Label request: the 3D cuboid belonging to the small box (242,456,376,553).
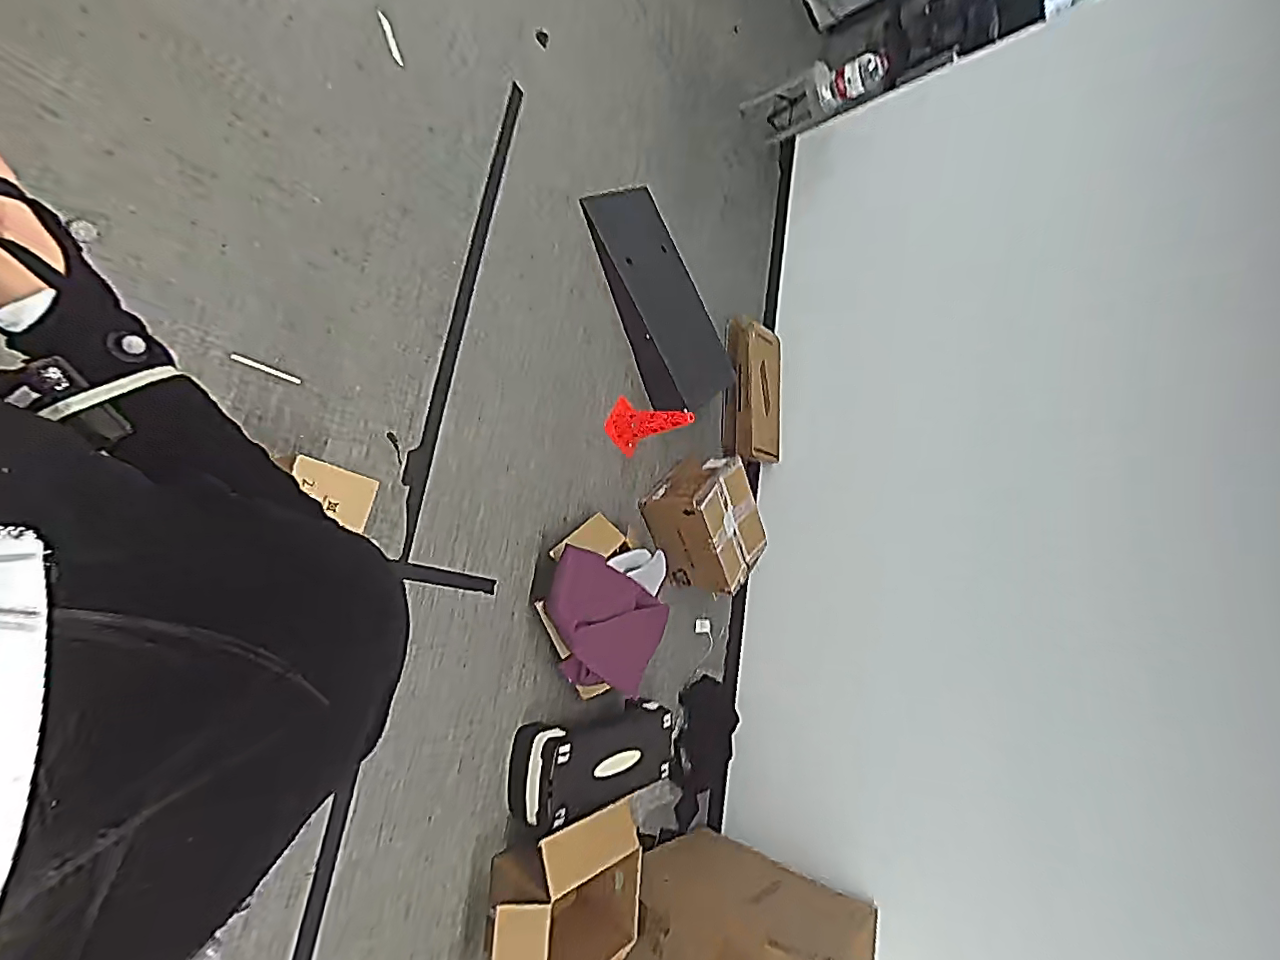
[{"bbox_3d":[-0.720,0.055,1.178,0.179,0.176,0.168,29,66,-45],"label":"small box"}]
